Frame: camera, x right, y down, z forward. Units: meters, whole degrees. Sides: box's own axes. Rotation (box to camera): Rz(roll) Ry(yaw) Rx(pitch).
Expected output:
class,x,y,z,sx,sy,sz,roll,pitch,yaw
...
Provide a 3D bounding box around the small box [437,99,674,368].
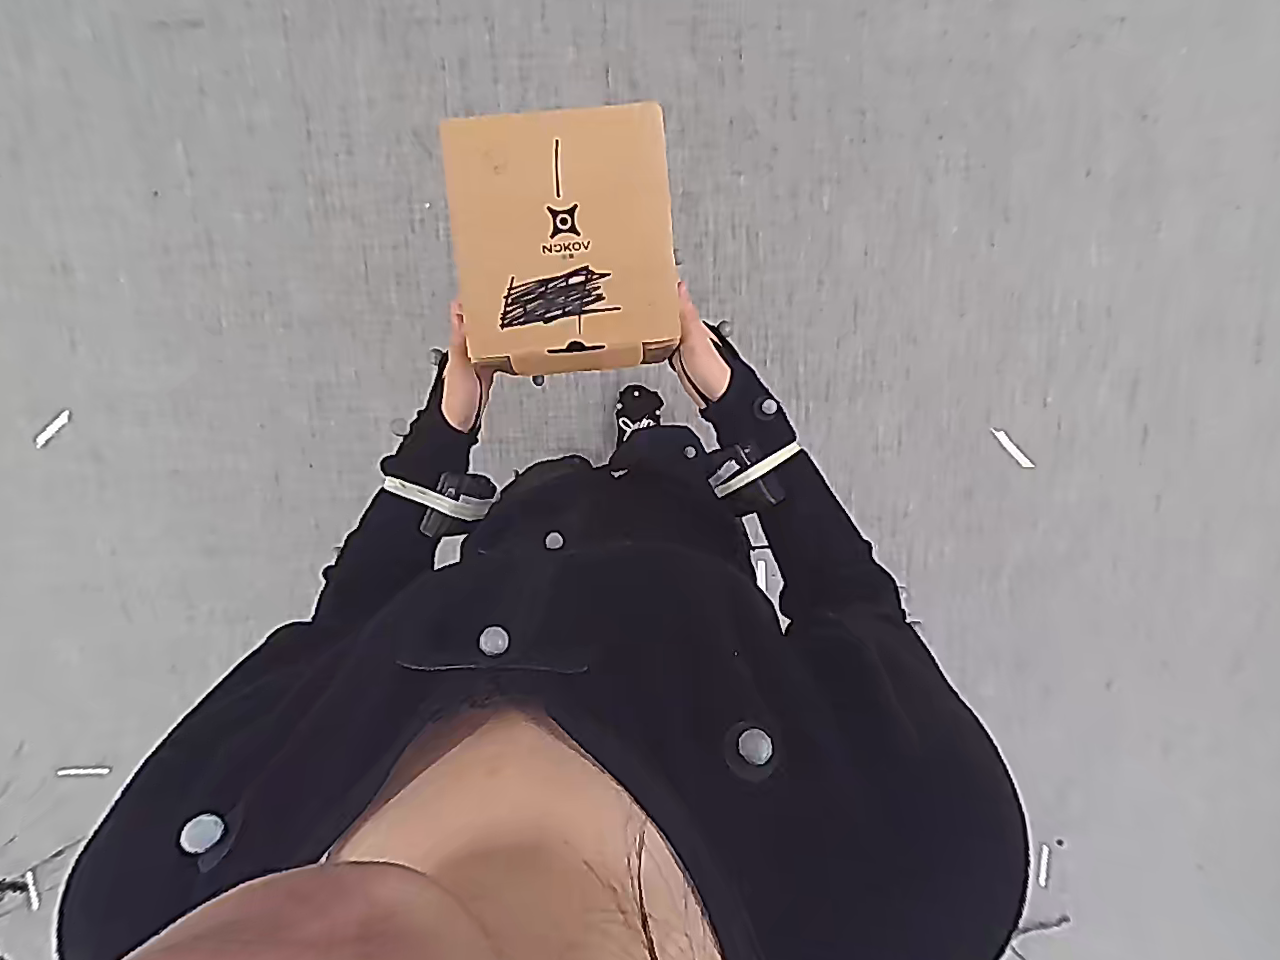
class,x,y,z,sx,sy,sz,roll,pitch,yaw
small box,-0.062,-0.196,0.483,0.168,0.176,0.179,-6,97,-2
